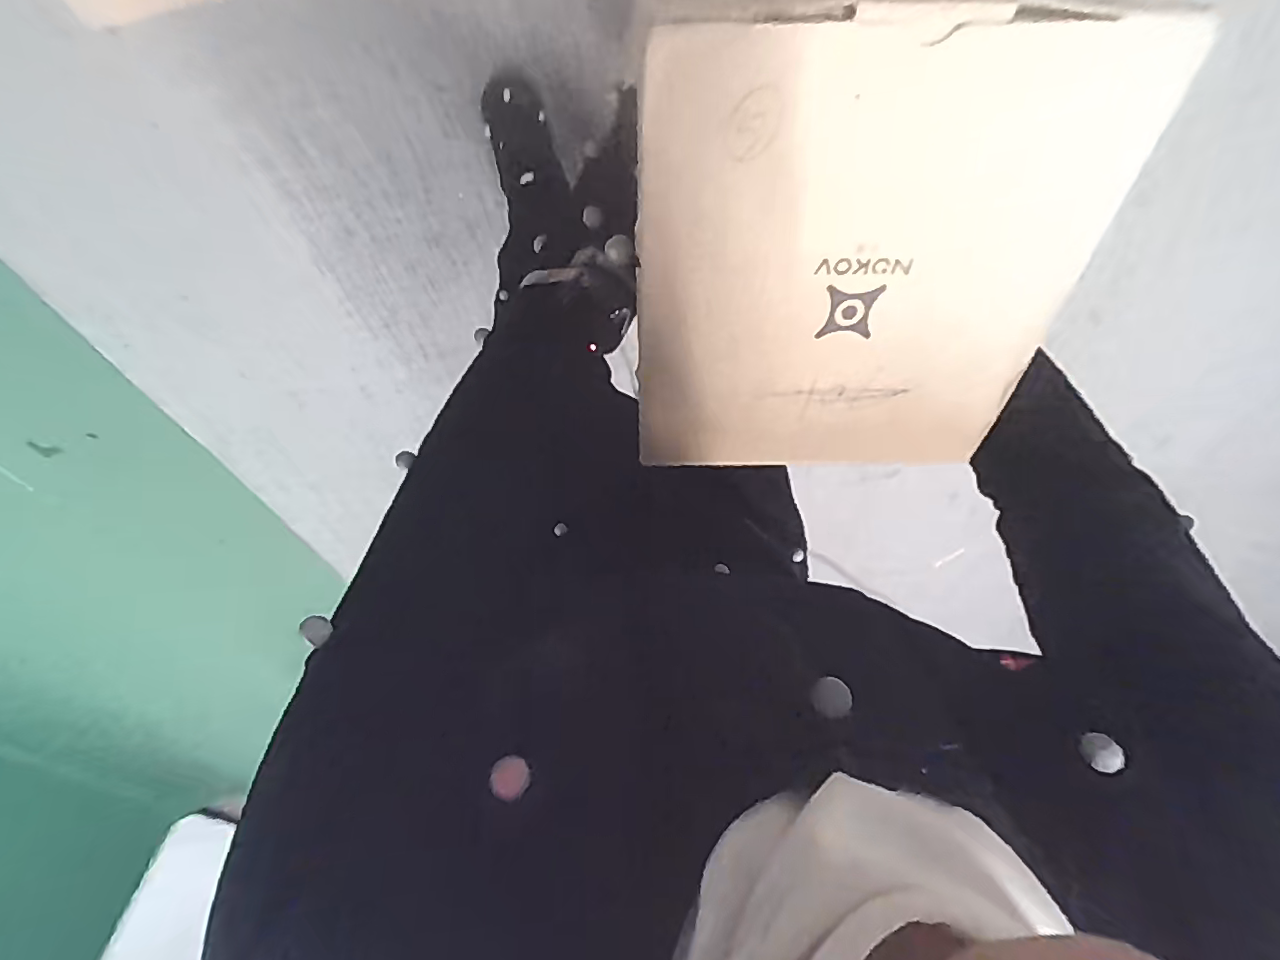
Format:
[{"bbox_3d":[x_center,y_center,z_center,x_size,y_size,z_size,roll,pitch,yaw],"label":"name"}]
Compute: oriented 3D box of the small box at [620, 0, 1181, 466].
[{"bbox_3d":[0.074,-0.127,0.268,0.168,0.176,0.179,0,135,1],"label":"small box"}]
